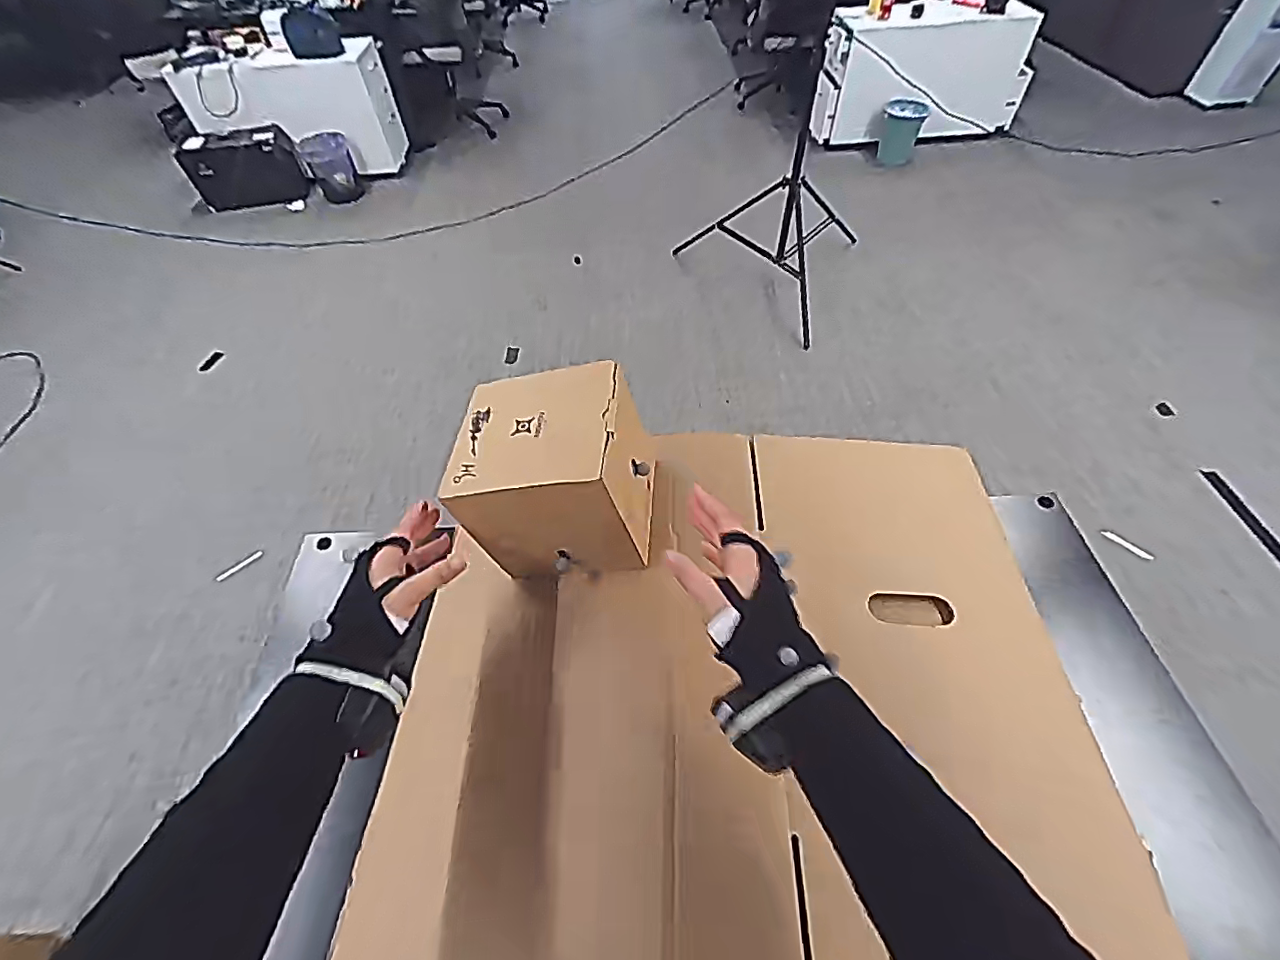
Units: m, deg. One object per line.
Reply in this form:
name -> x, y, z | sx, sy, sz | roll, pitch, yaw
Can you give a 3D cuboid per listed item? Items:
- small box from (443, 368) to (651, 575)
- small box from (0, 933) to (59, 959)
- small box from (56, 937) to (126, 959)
small box -> -0.089, -0.003, 0.628 | 0.179, 0.176, 0.168 | -6, 50, 13
small box -> -1.157, 0.888, 0.904 | 0.168, 0.176, 0.179 | -8, 52, -5
small box -> -1.150, 0.993, 1.028 | 0.168, 0.176, 0.179 | -7, 53, -3
